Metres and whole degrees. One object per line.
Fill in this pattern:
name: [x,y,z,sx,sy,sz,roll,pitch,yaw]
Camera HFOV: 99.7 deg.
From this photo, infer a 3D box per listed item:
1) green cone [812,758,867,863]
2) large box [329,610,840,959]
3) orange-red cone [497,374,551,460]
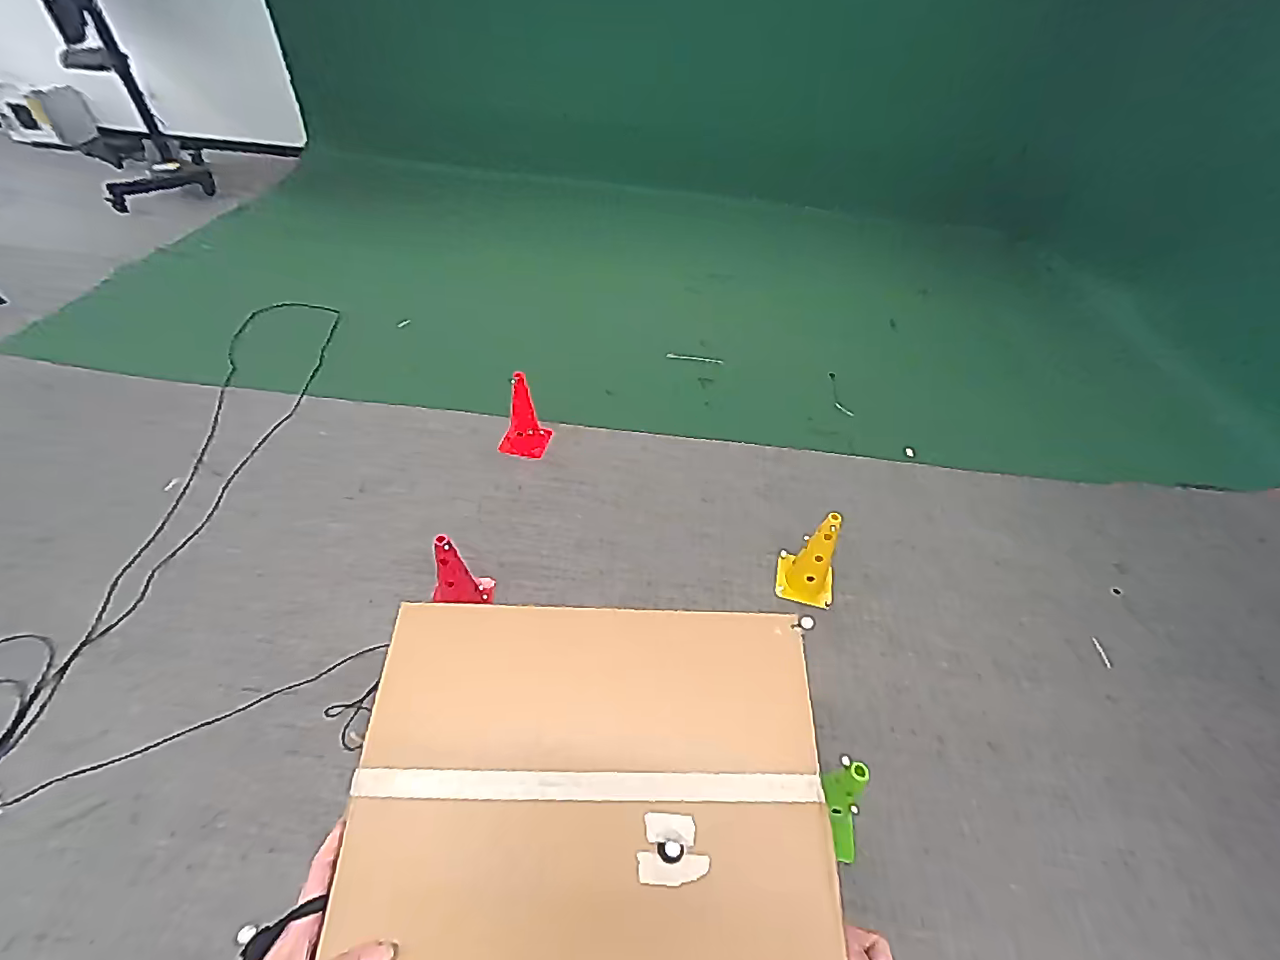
green cone: [0.481,0.777,1.336,0.200,0.368,0.202,11,44,5]
large box: [-0.050,0.347,0.608,0.408,0.320,0.320,2,60,-3]
orange-red cone: [-0.501,-0.285,2.271,0.199,0.360,0.198,11,45,7]
